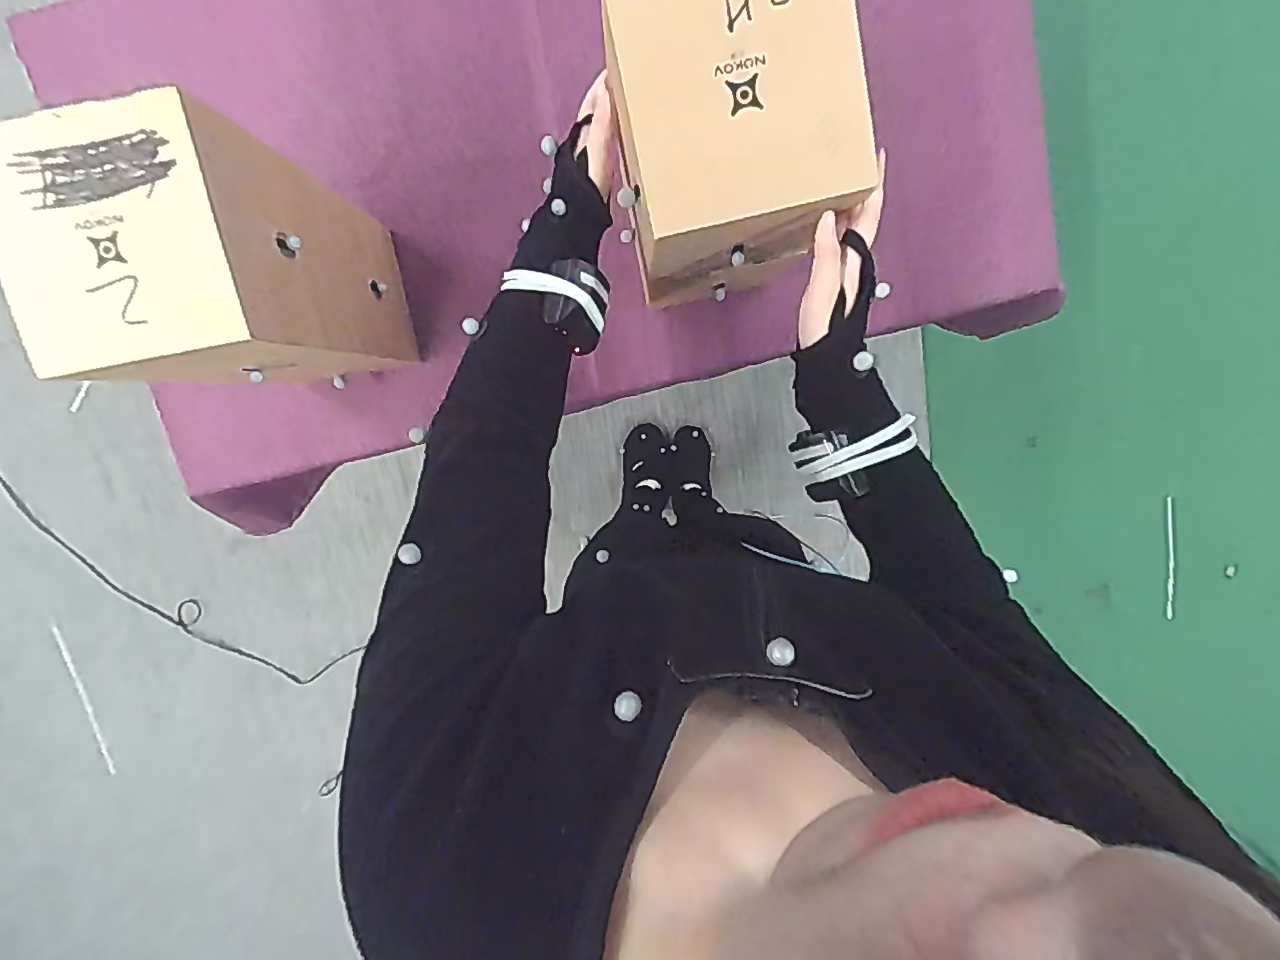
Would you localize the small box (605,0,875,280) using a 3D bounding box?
[{"bbox_3d":[0.073,-0.280,0.456,0.168,0.176,0.179,-12,98,1],"label":"small box"}]

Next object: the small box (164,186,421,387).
[{"bbox_3d":[-0.381,-0.208,0.629,0.168,0.176,0.179,-11,100,1],"label":"small box"}]

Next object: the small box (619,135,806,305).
[{"bbox_3d":[0.074,-0.307,0.619,0.168,0.176,0.179,-12,100,1],"label":"small box"}]
